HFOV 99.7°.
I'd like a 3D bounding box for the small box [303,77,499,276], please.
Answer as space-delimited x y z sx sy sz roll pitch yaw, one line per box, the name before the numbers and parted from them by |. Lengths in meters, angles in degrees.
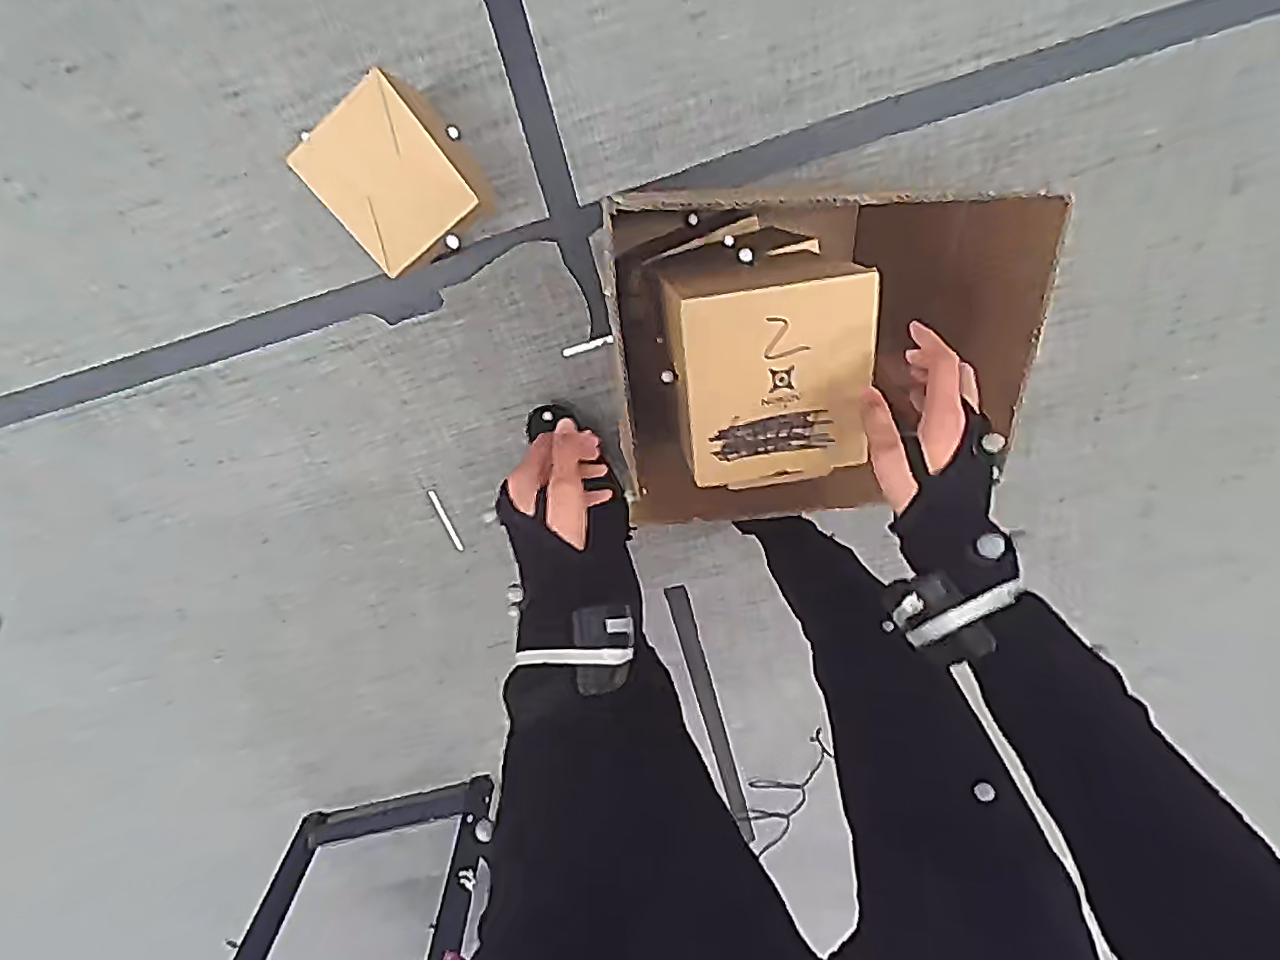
small box | -0.326 -0.413 0.751 0.168 0.176 0.179 -33 114 15
